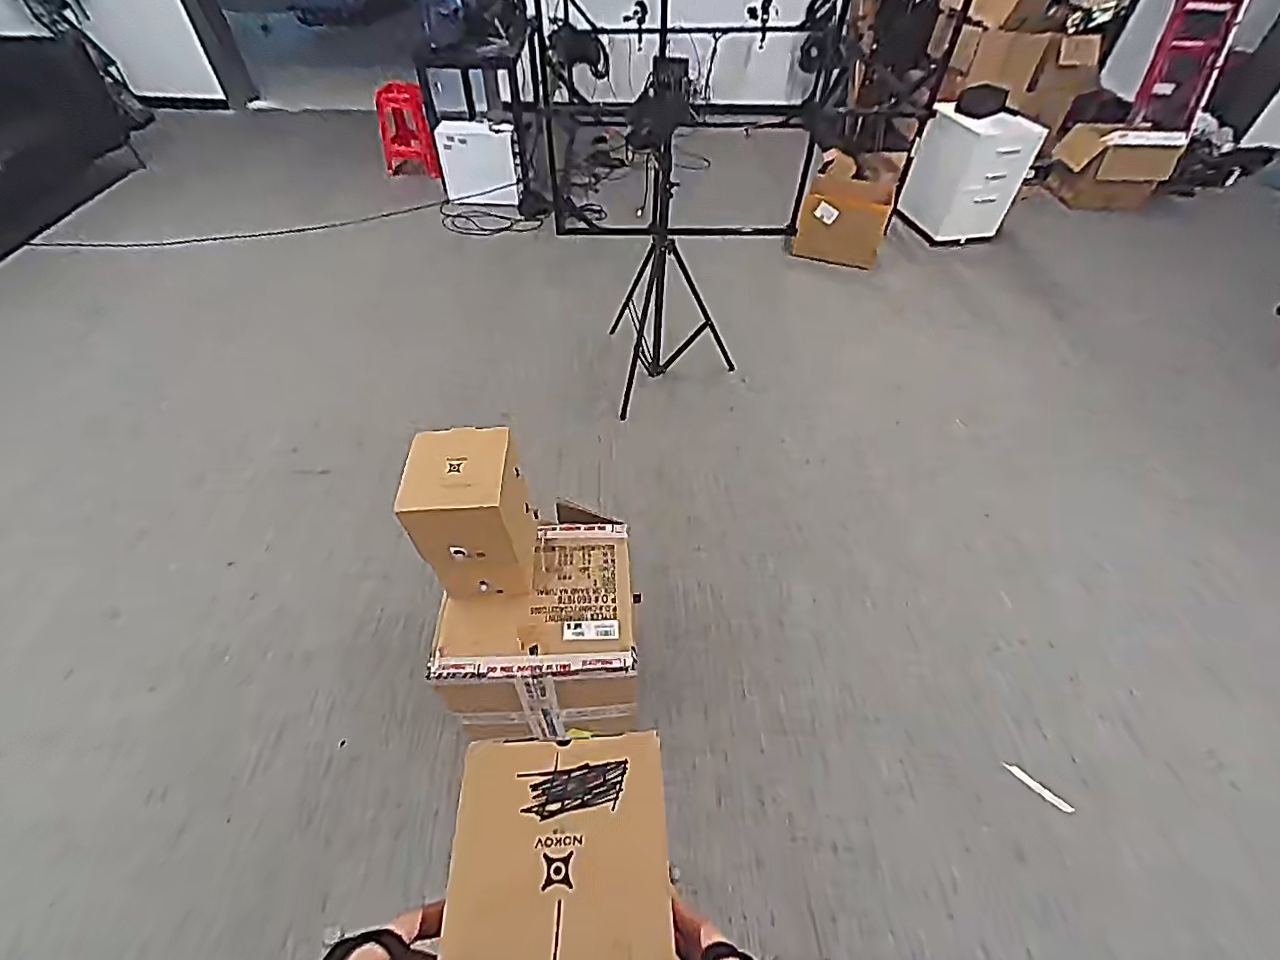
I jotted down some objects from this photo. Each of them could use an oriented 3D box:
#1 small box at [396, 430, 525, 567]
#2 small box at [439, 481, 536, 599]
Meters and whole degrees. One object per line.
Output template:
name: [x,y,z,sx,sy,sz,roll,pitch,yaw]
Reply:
small box: [-0.300,0.034,0.948,0.168,0.176,0.179,-4,52,-2]
small box: [-0.307,0.121,1.087,0.168,0.176,0.179,-3,51,-2]
